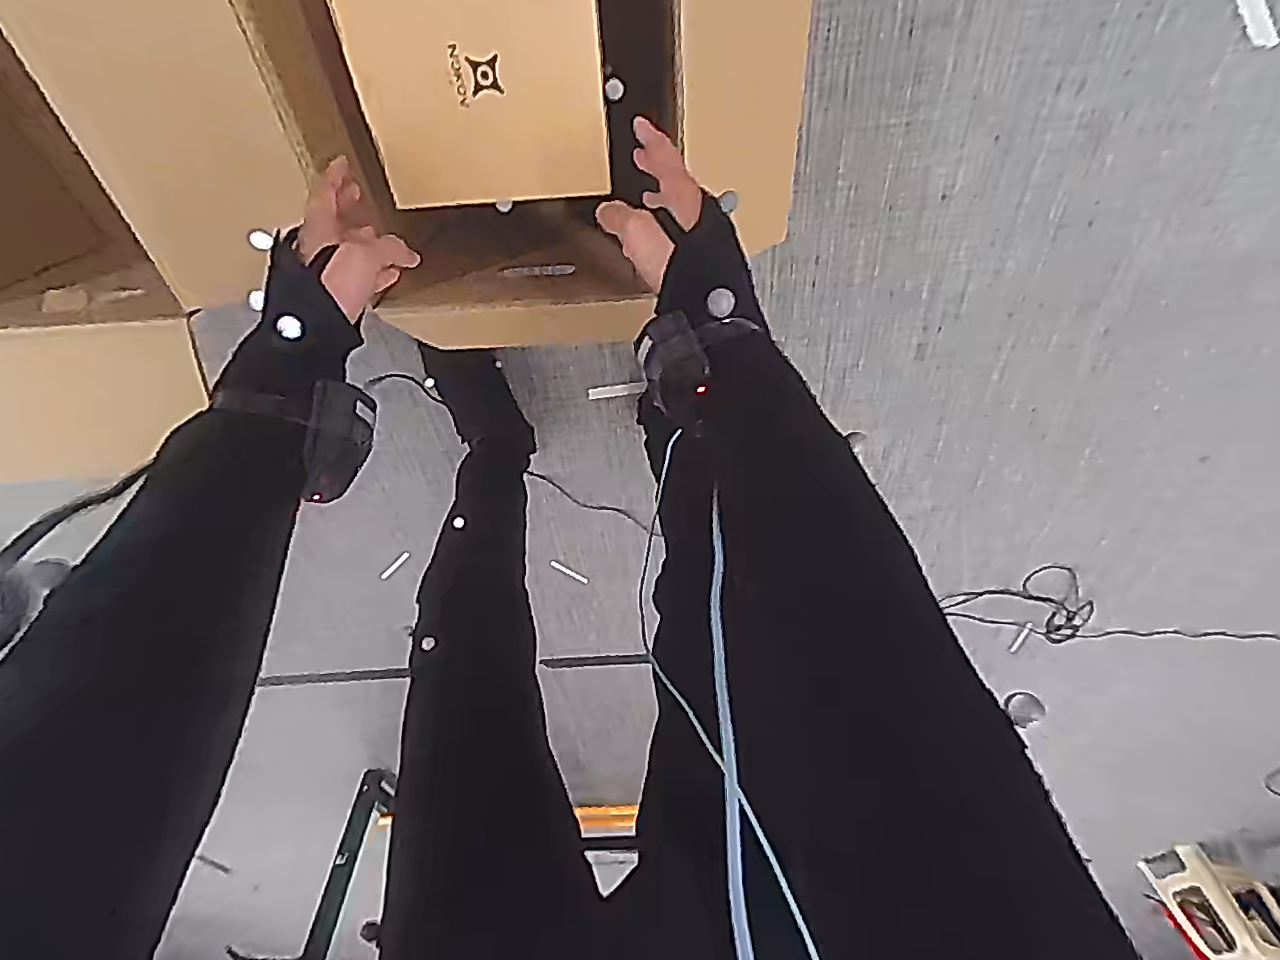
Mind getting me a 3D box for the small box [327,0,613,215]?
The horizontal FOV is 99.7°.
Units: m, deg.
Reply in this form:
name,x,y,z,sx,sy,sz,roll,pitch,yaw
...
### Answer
name,x,y,z,sx,sy,sz,roll,pitch,yaw
small box,-0.115,-0.333,0.439,0.179,0.176,0.168,-3,133,1
